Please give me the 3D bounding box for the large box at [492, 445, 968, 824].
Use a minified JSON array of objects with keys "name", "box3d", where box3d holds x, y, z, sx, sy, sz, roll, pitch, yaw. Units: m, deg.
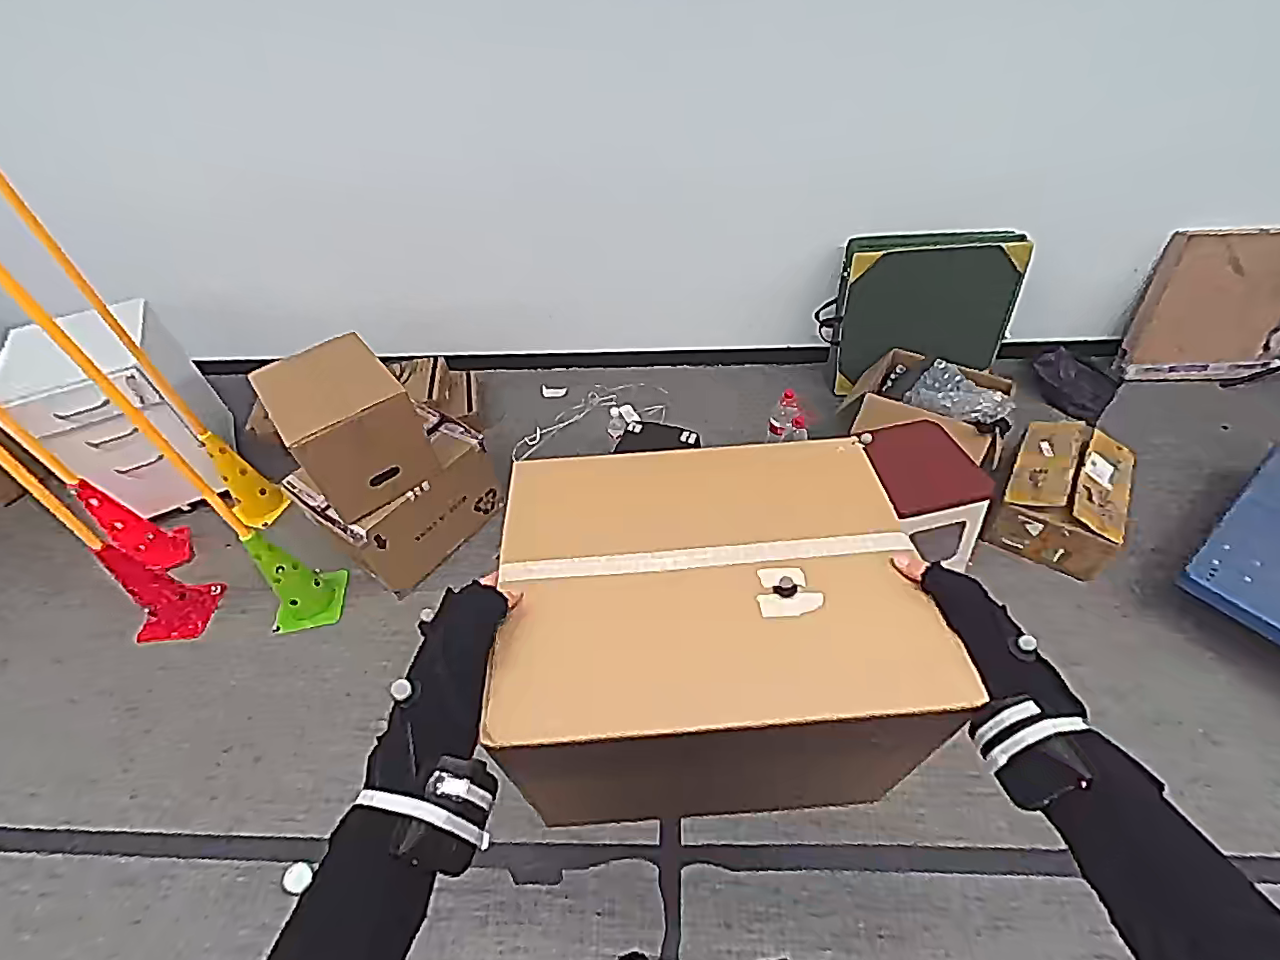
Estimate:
[{"name":"large box","box3d":[0.069,0.186,0.649,0.408,0.320,0.320,-4,47,-1]}]
